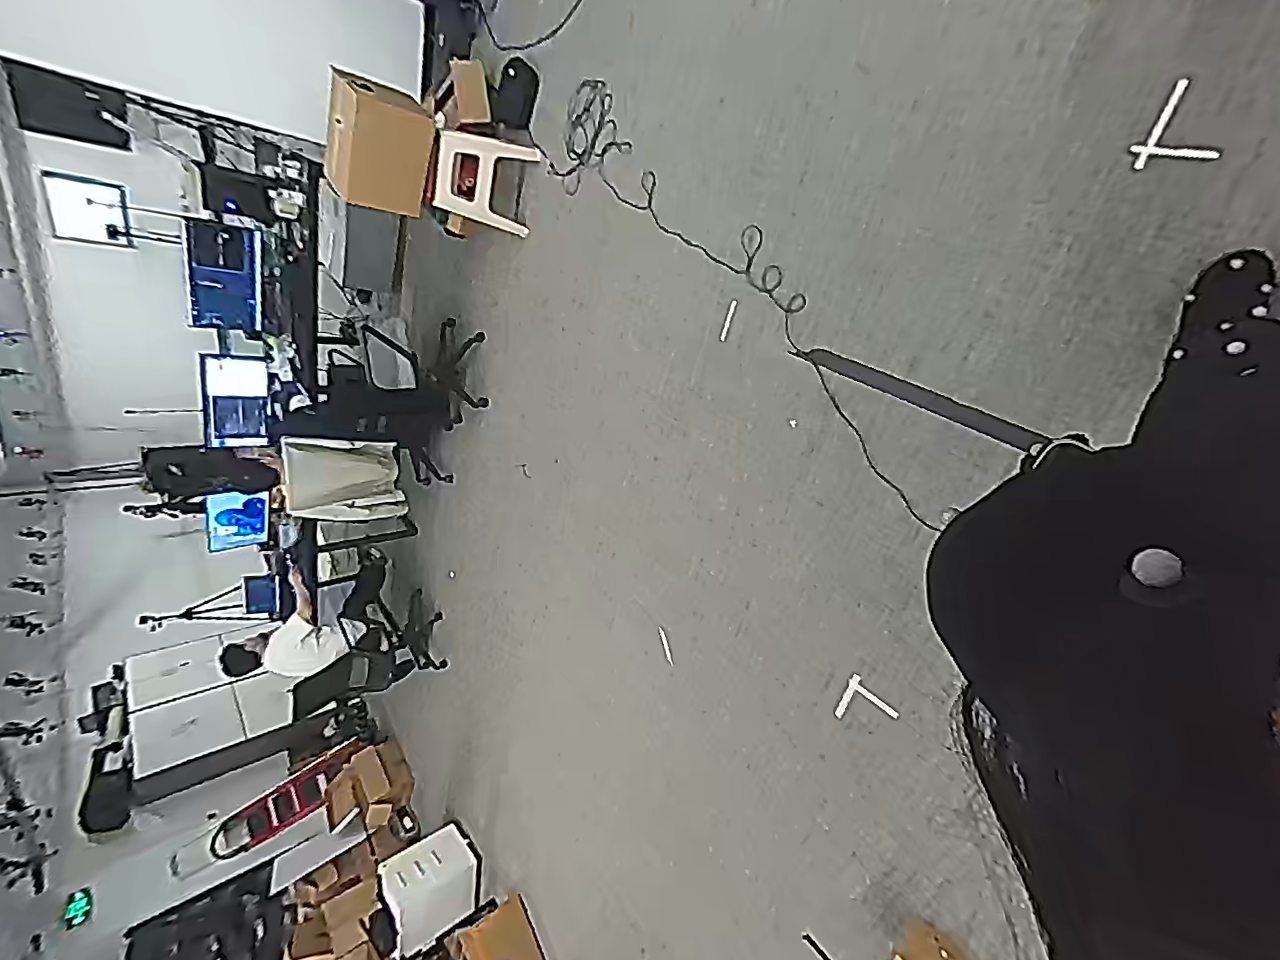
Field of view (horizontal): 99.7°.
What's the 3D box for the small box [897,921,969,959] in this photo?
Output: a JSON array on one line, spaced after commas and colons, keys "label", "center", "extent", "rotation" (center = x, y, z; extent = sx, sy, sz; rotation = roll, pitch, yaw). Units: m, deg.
[{"label": "small box", "center": [0.820, 1.410, 1.519], "extent": [0.168, 0.176, 0.179], "rotation": [35, 120, 38]}]
